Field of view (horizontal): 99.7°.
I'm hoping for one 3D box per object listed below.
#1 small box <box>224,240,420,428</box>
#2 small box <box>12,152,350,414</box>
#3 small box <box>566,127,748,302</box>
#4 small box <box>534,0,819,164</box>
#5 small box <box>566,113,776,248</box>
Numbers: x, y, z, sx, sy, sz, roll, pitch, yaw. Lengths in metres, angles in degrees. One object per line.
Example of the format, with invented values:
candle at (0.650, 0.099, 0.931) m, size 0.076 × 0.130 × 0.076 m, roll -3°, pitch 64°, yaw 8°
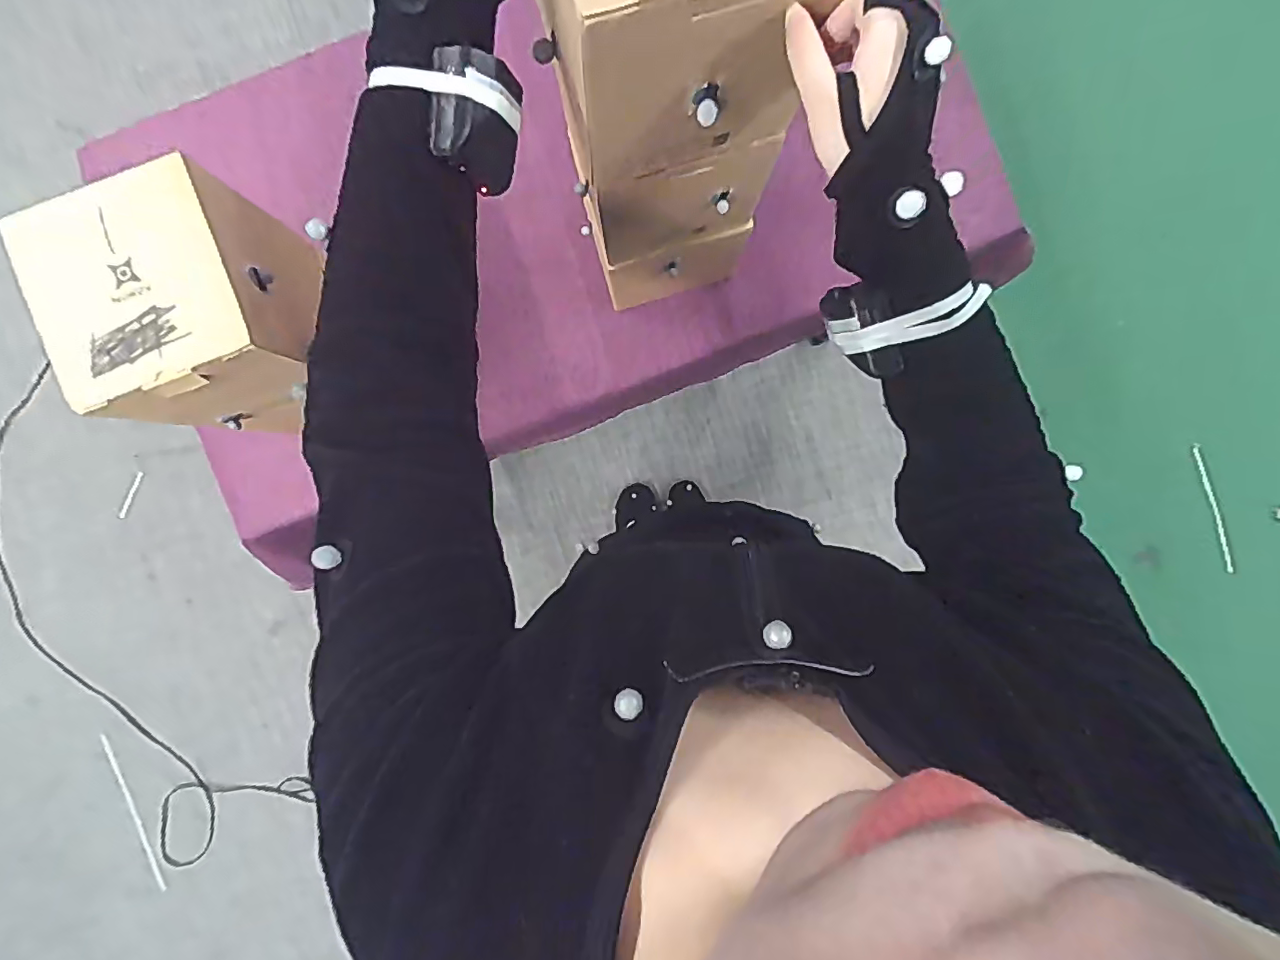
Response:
small box at (-0.423, -0.174, 0.705) m, size 0.179 × 0.176 × 0.168 m, roll -20°, pitch 91°, yaw 1°
small box at (-0.429, -0.172, 0.540) m, size 0.168 × 0.176 × 0.179 m, roll -20°, pitch 90°, yaw 1°
small box at (0.023, -0.345, 0.687) m, size 0.179 × 0.176 × 0.168 m, roll -15°, pitch 92°, yaw 2°
small box at (0.013, -0.343, 0.356) m, size 0.168 × 0.176 × 0.179 m, roll -18°, pitch 93°, yaw -1°
small box at (0.016, -0.348, 0.524) m, size 0.168 × 0.176 × 0.179 m, roll -16°, pitch 91°, yaw 1°
